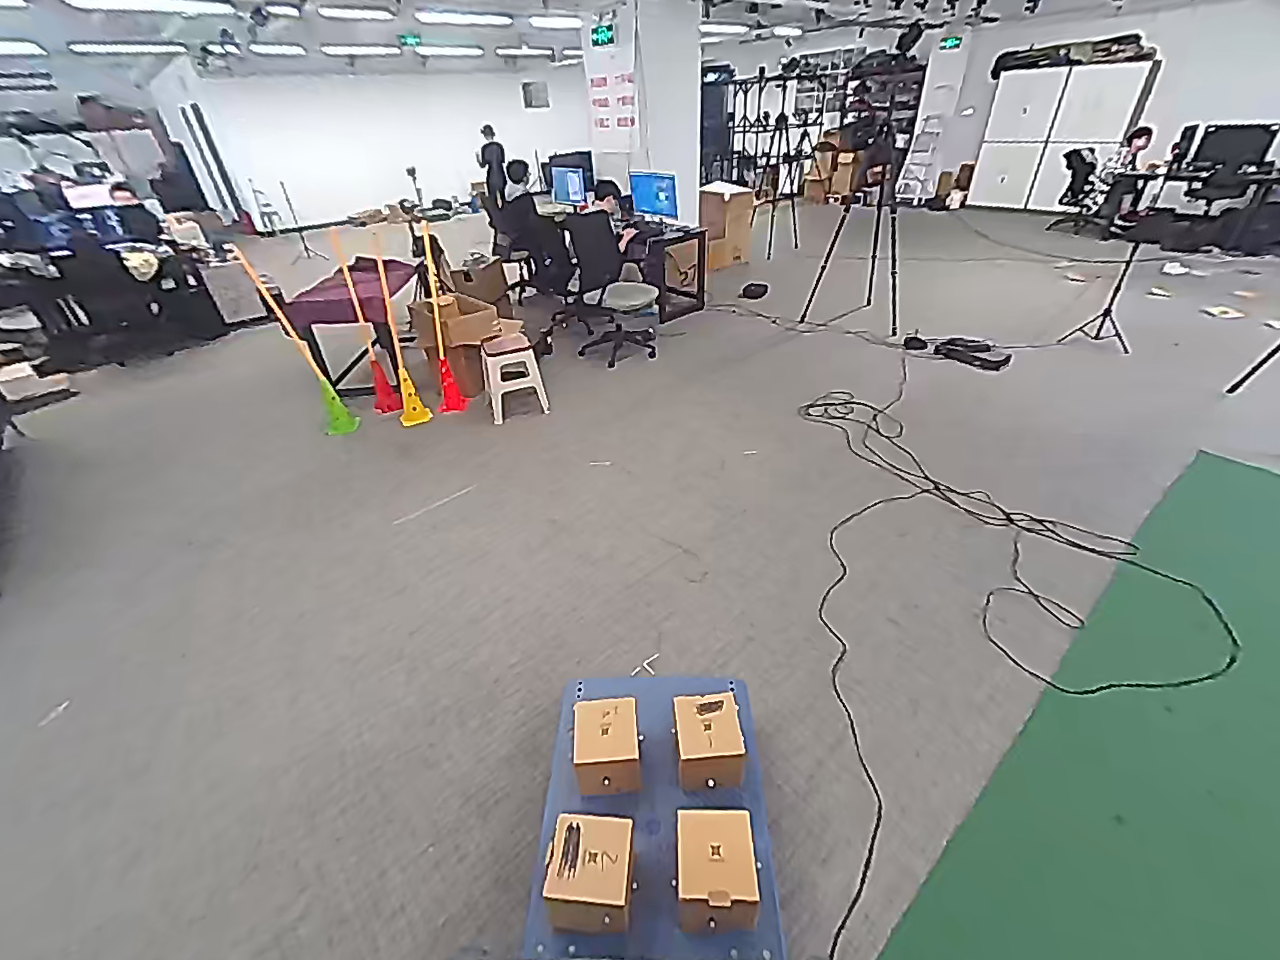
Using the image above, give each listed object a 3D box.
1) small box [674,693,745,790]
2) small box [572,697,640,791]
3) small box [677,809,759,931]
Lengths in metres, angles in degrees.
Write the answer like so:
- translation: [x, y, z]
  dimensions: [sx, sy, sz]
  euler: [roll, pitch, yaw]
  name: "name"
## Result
- translation: [0.180, 0.702, 1.456]
  dimensions: [0.168, 0.176, 0.179]
  euler: [-4, 36, -1]
  name: "small box"
- translation: [-0.089, 0.715, 1.458]
  dimensions: [0.168, 0.176, 0.179]
  euler: [-3, 35, -2]
  name: "small box"
- translation: [0.167, 0.874, 1.214]
  dimensions: [0.168, 0.176, 0.179]
  euler: [-1, 35, 3]
  name: "small box"
